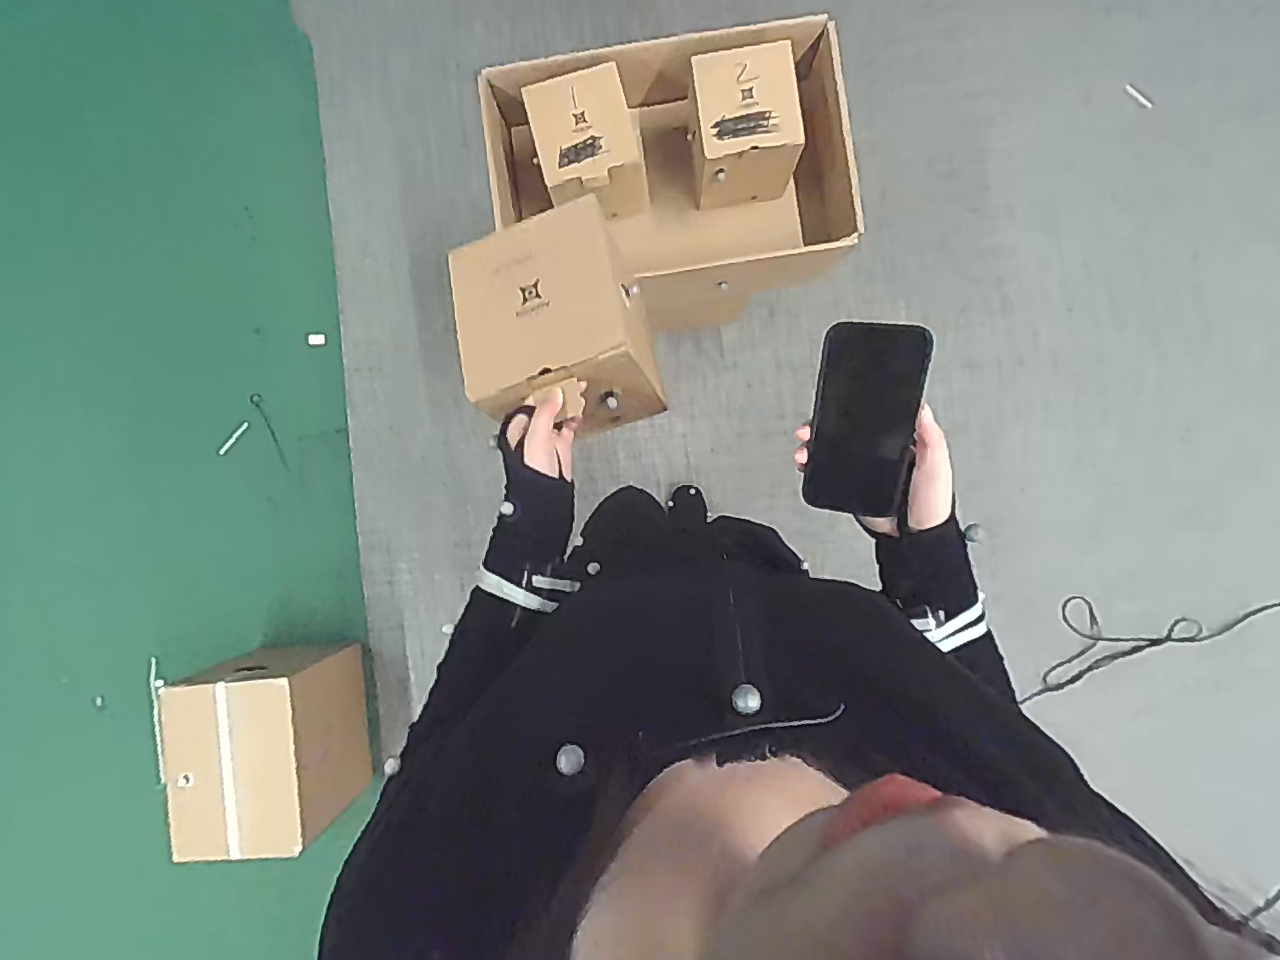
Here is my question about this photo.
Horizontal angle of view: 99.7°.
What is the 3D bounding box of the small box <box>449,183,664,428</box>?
[{"bbox_3d":[-0.081,-0.168,0.587,0.168,0.176,0.179,-15,74,12],"label":"small box"}]
